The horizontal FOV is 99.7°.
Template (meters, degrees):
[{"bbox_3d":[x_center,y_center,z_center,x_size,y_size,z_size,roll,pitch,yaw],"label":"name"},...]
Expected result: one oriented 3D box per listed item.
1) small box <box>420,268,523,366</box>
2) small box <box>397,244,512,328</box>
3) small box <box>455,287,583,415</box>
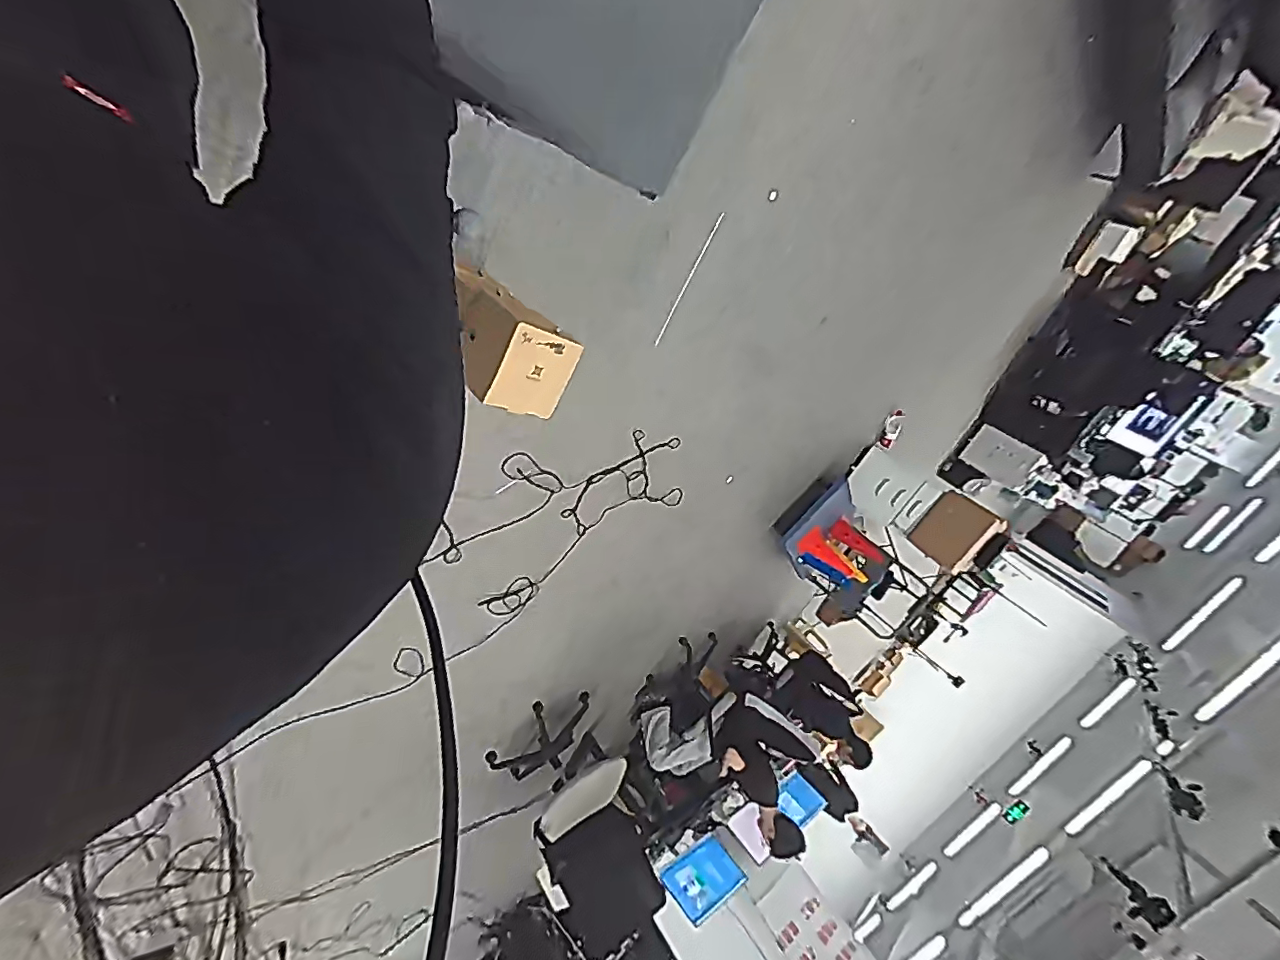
[{"bbox_3d":[-0.359,-0.347,1.197,0.179,0.176,0.168,6,119,-50],"label":"small box"},{"bbox_3d":[-0.448,-0.440,1.300,0.179,0.176,0.168,10,116,-50],"label":"small box"},{"bbox_3d":[-0.254,-0.261,1.105,0.168,0.176,0.179,9,118,-50],"label":"small box"}]
